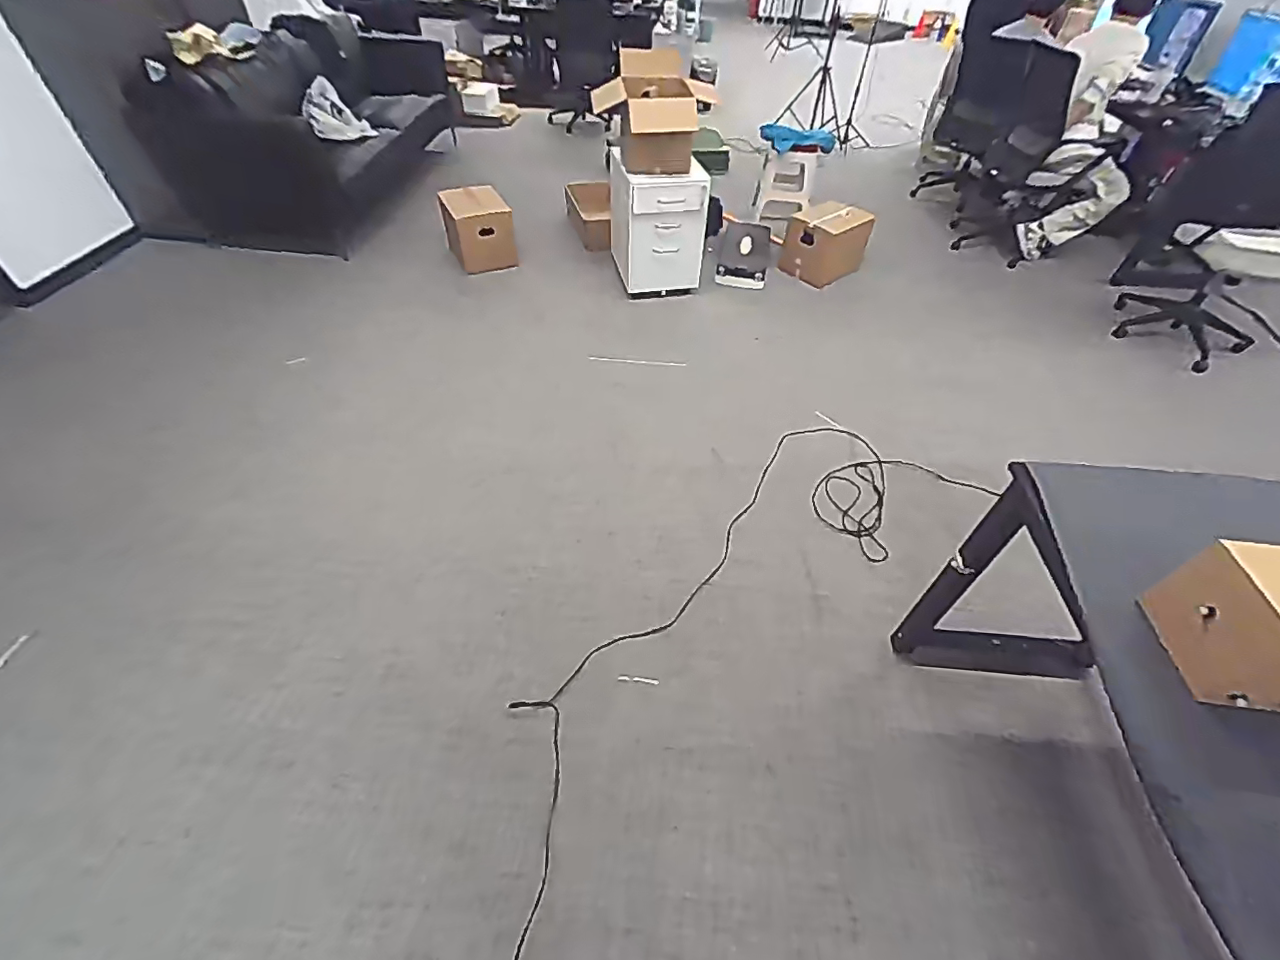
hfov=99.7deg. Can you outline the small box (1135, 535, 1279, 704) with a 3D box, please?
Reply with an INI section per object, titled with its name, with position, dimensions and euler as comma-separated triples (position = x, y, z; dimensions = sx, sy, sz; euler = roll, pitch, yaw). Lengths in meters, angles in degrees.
[small box]
position = 0.892, 0.206, 0.780
dimensions = 0.168, 0.176, 0.179
euler = 7, 47, 2
